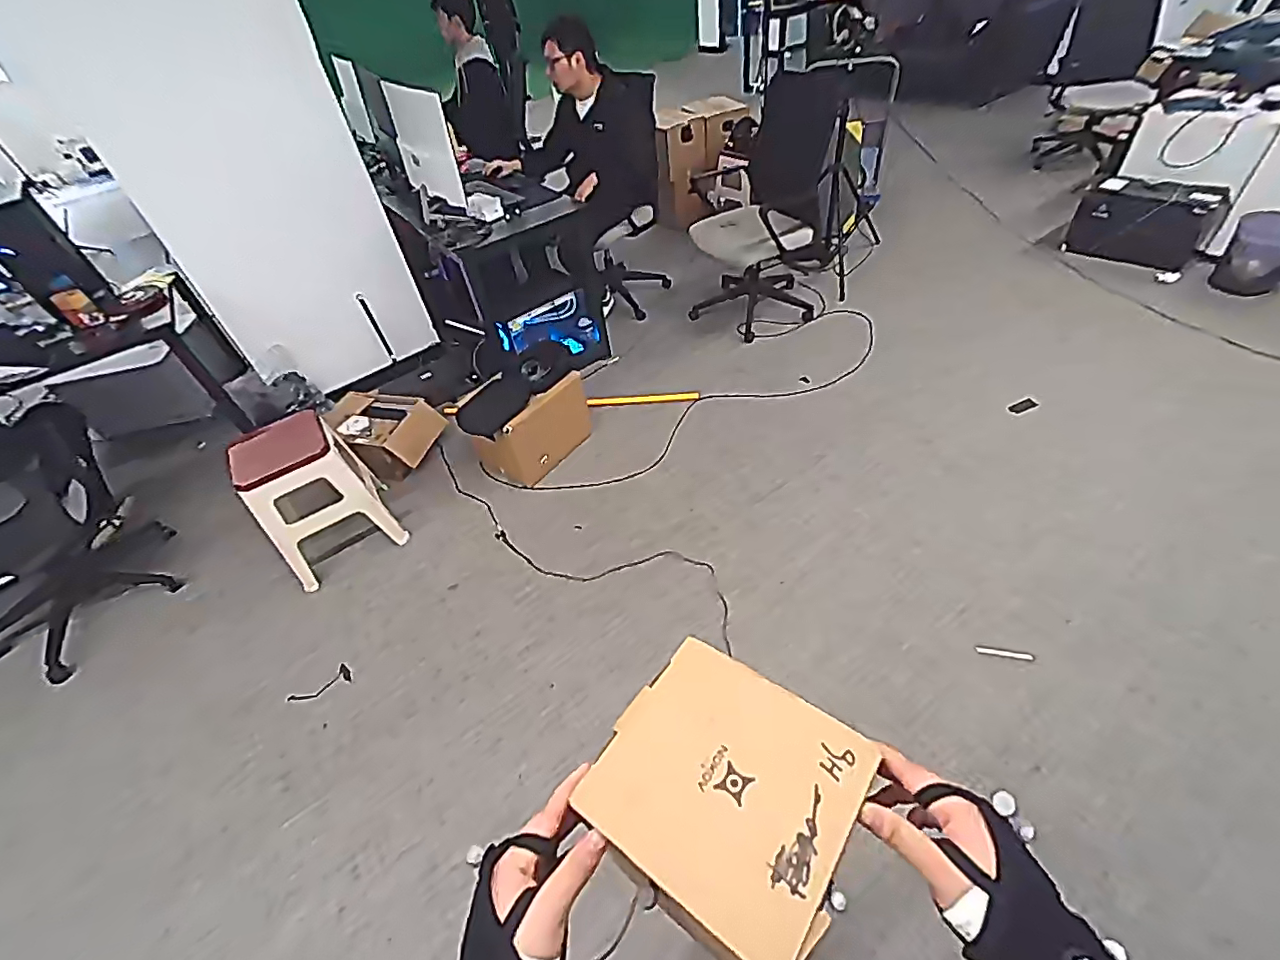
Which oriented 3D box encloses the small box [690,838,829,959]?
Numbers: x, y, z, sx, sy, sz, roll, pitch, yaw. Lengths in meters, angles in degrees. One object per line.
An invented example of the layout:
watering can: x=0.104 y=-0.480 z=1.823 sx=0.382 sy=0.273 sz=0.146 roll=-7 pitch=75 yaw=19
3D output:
small box: x=0.211 y=0.797 z=0.970 sx=0.179 sy=0.176 sz=0.168 roll=-36 pitch=52 yaw=-25
